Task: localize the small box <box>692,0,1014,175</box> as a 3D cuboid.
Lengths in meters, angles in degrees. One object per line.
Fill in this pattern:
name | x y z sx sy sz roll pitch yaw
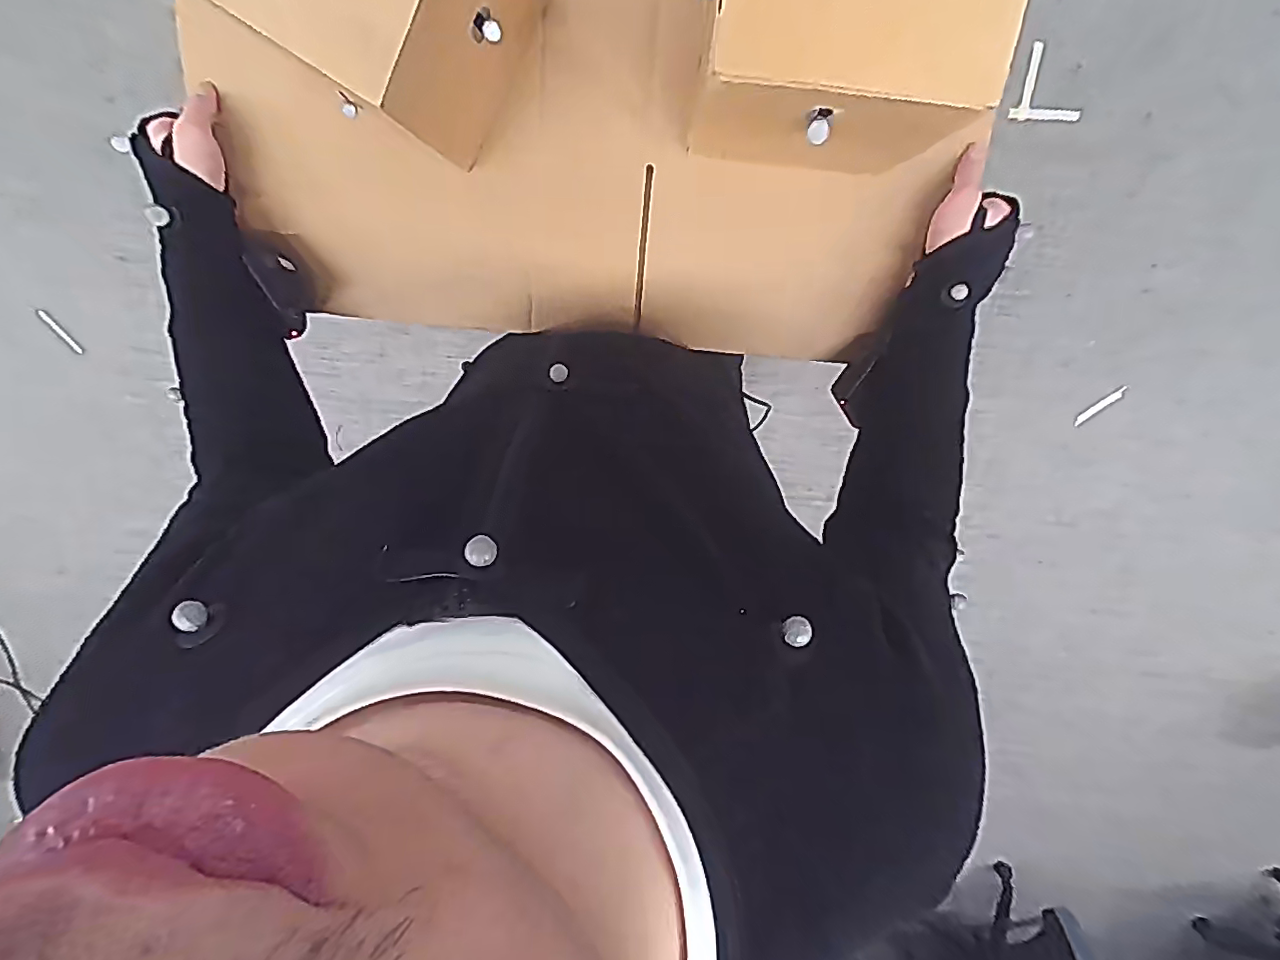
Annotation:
small box | 0.140 -0.334 0.389 0.179 0.176 0.168 6 107 -1
